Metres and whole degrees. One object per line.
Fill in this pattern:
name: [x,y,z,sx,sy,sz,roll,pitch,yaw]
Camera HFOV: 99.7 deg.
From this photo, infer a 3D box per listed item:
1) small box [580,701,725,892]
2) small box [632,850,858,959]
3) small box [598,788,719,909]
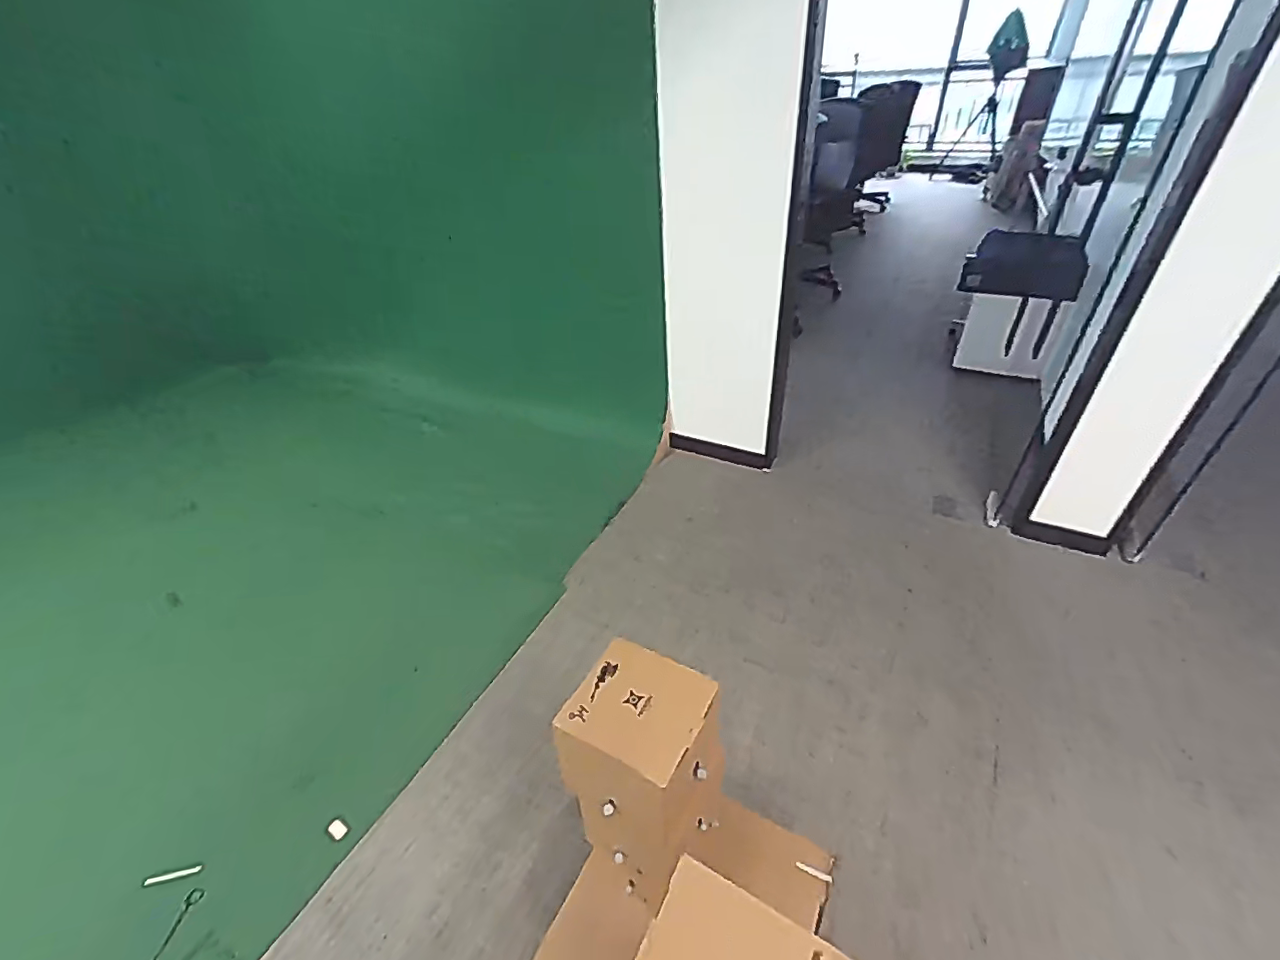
small box: [0.023,0.507,0.874,0.168,0.176,0.179,18,40,27]
small box: [0.080,0.500,0.503,0.179,0.176,0.168,19,45,23]
small box: [0.031,0.632,0.982,0.168,0.176,0.179,16,39,25]
